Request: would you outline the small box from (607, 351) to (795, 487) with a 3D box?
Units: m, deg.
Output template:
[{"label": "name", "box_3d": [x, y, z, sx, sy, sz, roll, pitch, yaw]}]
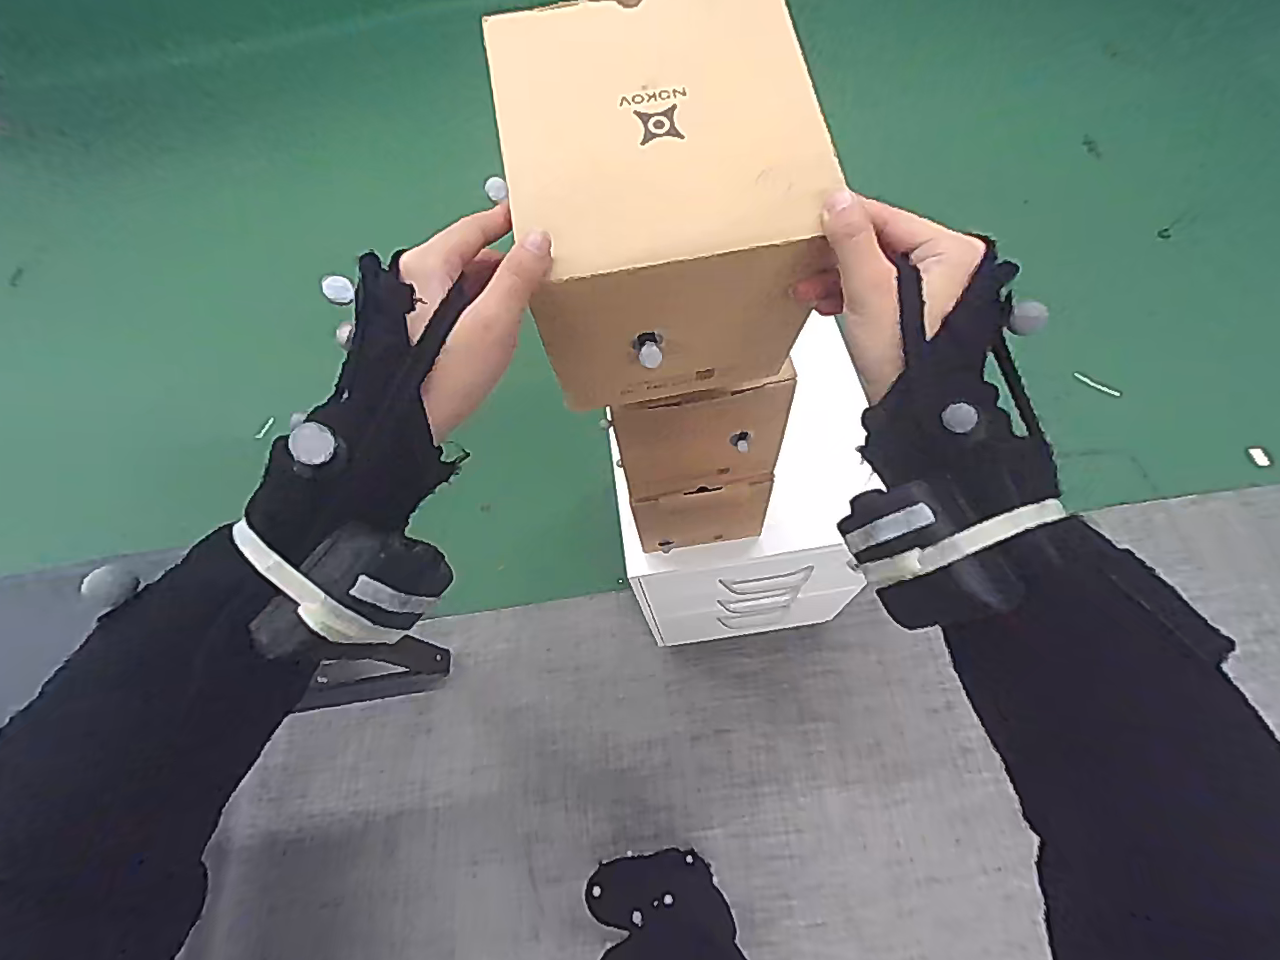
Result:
[{"label": "small box", "box_3d": [0.048, -0.106, 0.568, 0.168, 0.176, 0.179, -10, 61, -1]}]

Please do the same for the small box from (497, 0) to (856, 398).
[{"label": "small box", "box_3d": [0.015, -0.167, 0.360, 0.168, 0.176, 0.179, -10, 76, -2]}]

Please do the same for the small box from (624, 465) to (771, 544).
[{"label": "small box", "box_3d": [0.065, -0.025, 0.708, 0.168, 0.176, 0.179, -8, 62, 1]}]
